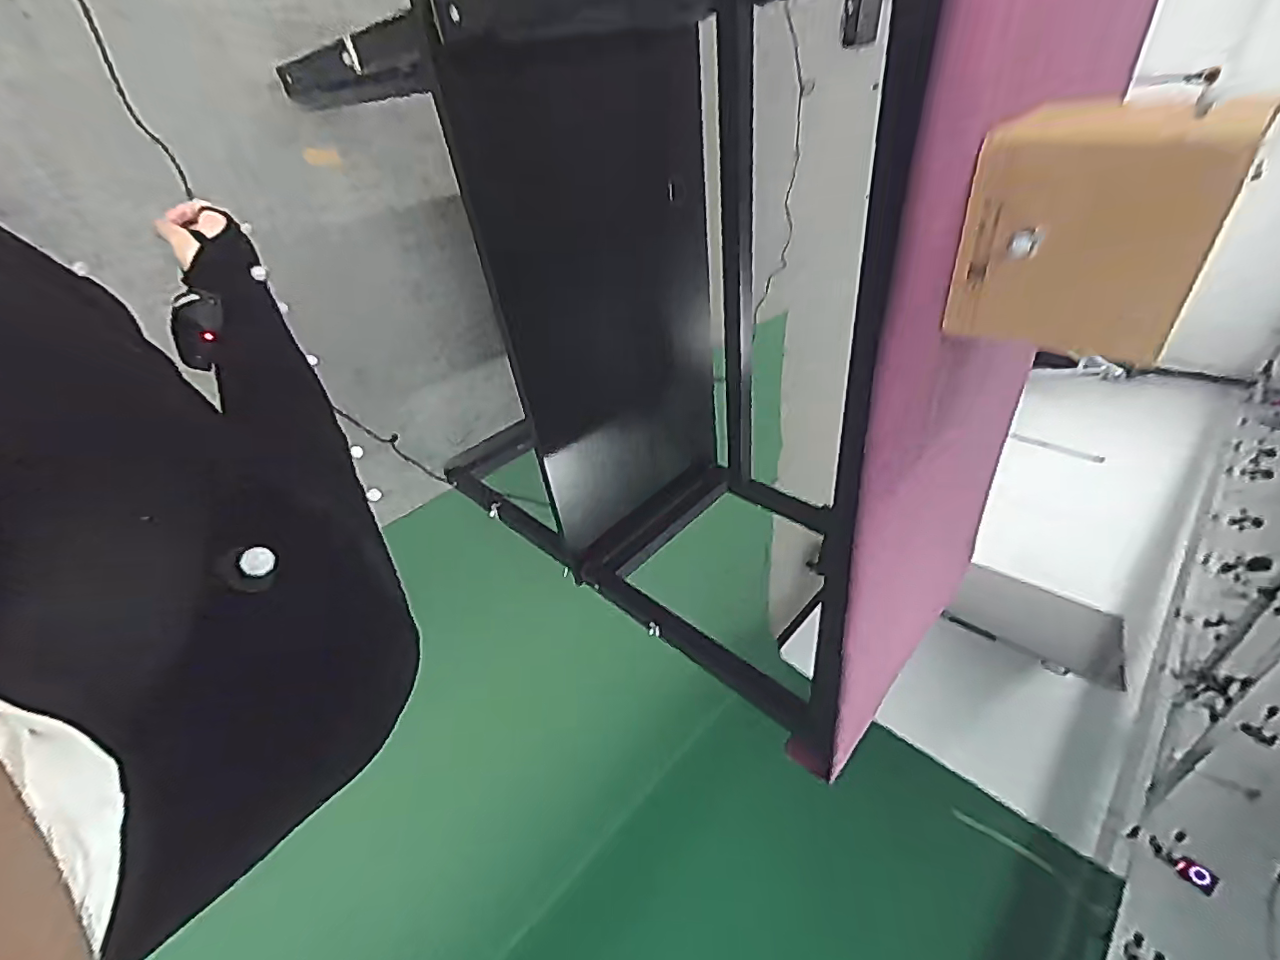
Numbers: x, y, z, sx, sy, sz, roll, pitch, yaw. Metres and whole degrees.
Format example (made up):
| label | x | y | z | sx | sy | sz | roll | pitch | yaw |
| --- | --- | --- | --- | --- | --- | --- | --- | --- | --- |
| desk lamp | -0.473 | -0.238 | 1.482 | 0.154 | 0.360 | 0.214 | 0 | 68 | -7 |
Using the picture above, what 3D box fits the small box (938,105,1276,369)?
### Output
| label | x | y | z | sx | sy | sz | roll | pitch | yaw |
| --- | --- | --- | --- | --- | --- | --- | --- | --- | --- |
| small box | 0.398 | -0.223 | 0.483 | 0.179 | 0.176 | 0.168 | -37 | 134 | -32 |
